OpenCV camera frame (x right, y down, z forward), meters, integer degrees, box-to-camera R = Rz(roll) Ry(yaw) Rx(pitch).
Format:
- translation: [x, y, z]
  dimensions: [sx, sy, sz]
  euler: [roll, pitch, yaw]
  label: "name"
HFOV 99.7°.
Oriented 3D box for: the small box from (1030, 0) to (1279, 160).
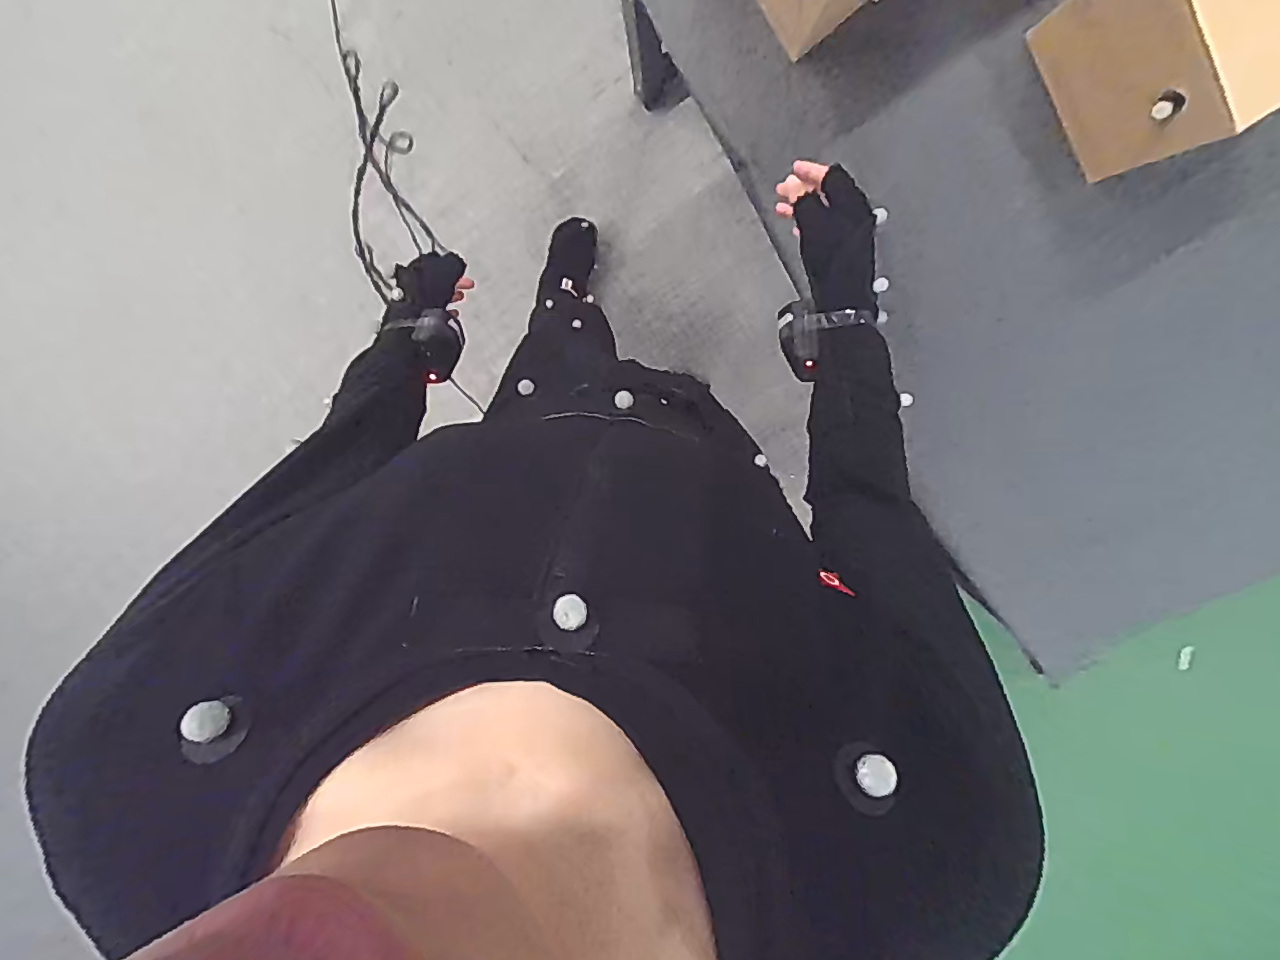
- translation: [0.510, -0.423, 0.487]
  dimensions: [0.168, 0.176, 0.179]
  euler: [-33, 102, 11]
  label: "small box"
